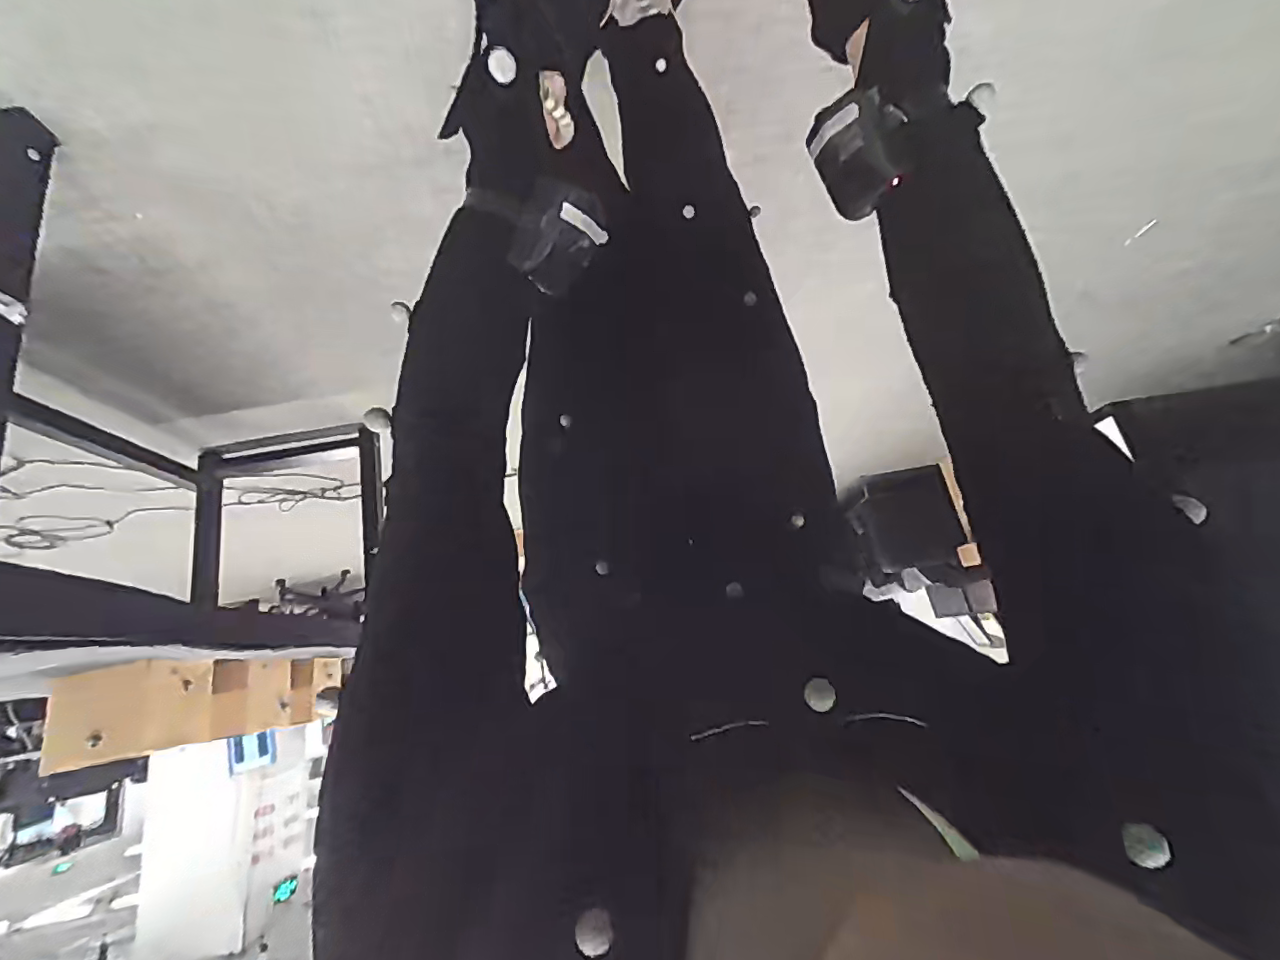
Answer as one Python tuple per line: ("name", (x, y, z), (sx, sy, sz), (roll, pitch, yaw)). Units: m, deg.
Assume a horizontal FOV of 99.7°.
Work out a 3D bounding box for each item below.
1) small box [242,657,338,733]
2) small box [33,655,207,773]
("small box", (-0.974, 0.598, 1.519), (0.179, 0.176, 0.168), (-7, 162, -6))
("small box", (-0.976, 0.440, 1.036), (0.179, 0.176, 0.168), (-10, 162, -3))
